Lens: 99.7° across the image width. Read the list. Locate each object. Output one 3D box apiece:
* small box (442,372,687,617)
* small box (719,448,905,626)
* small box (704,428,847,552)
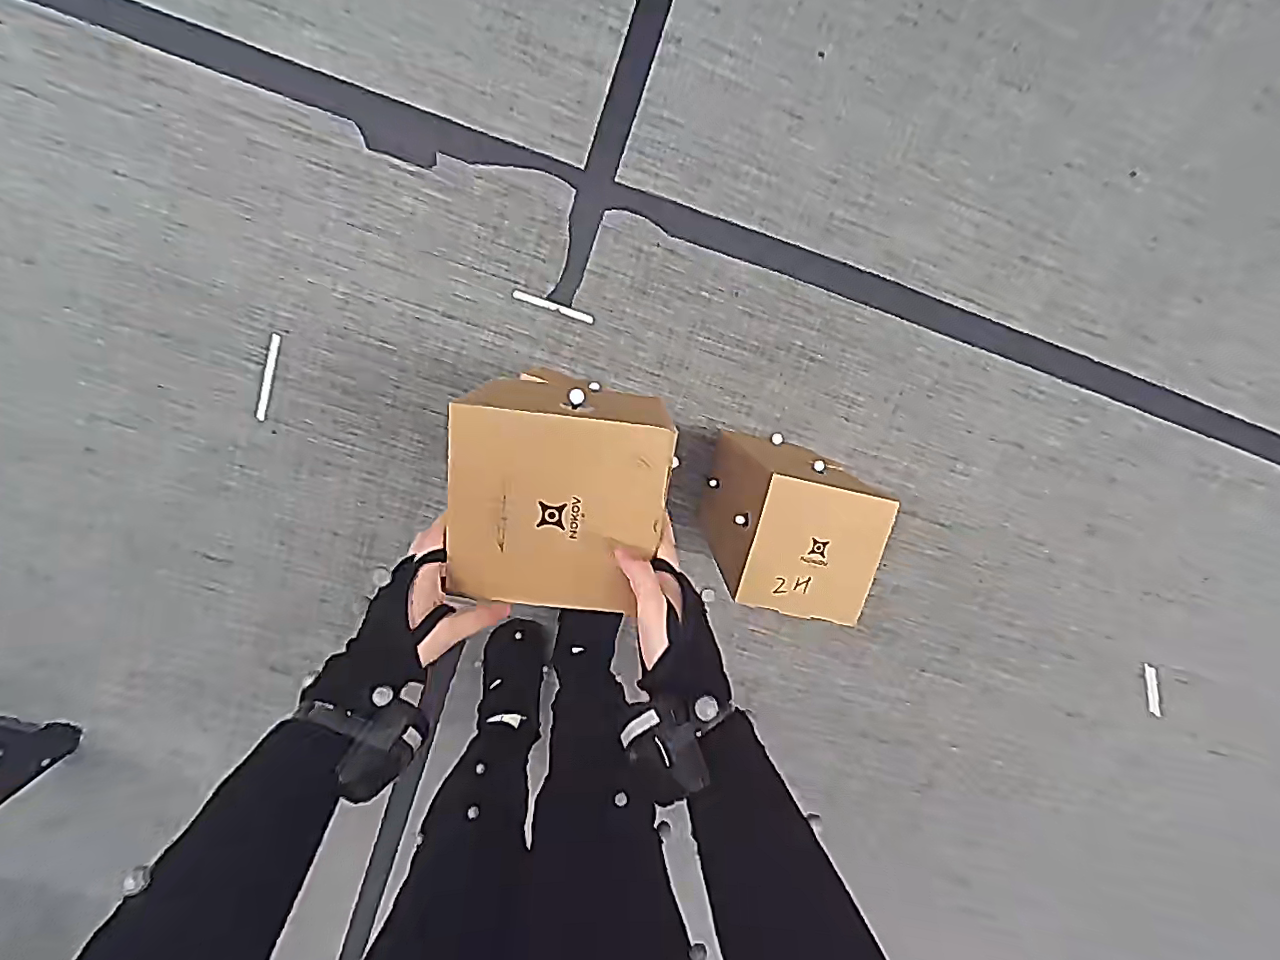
[{"bbox_3d":[-0.065,0.001,0.489,0.179,0.176,0.168,7,108,-4],"label":"small box"},{"bbox_3d":[0.216,0.066,0.733,0.168,0.176,0.179,13,104,-5],"label":"small box"},{"bbox_3d":[0.209,0.024,0.892,0.168,0.176,0.179,12,103,-5],"label":"small box"}]
